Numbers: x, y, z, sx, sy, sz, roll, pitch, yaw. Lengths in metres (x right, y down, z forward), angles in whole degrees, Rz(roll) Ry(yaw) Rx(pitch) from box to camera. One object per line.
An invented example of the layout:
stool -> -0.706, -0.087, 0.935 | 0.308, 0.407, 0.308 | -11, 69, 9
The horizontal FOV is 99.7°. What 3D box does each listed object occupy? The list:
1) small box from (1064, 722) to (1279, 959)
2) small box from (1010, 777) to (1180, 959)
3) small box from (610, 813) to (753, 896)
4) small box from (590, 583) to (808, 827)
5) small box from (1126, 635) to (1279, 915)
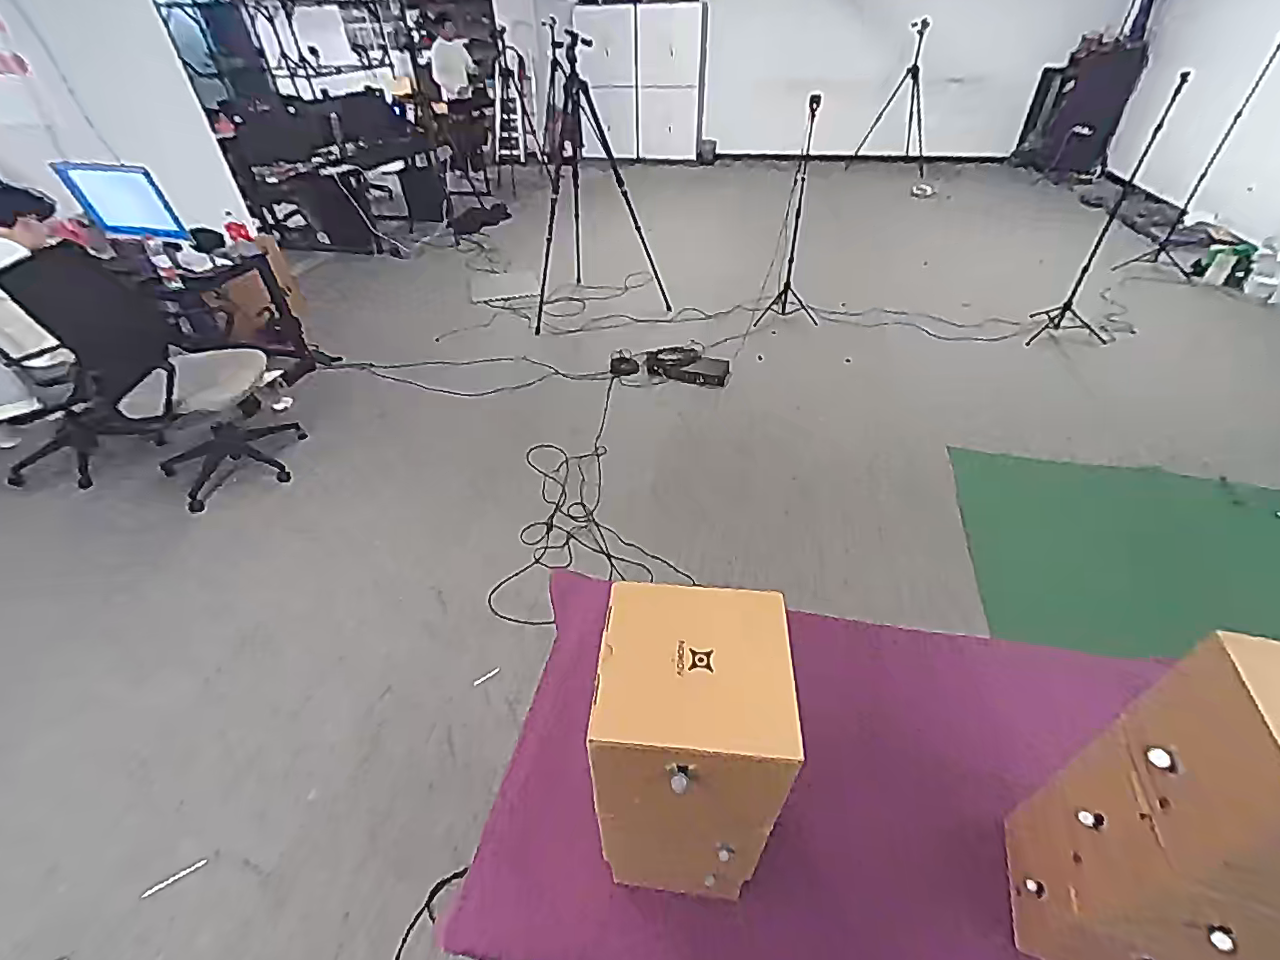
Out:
small box -> 0.591, 0.397, 0.576 | 0.179, 0.176, 0.168 | 12, 43, 17
small box -> 0.595, 0.521, 0.682 | 0.179, 0.176, 0.168 | 15, 43, 18
small box -> 0.060, 0.463, 0.765 | 0.179, 0.176, 0.168 | 3, 41, 6
small box -> 0.054, 0.225, 0.540 | 0.179, 0.176, 0.168 | 3, 42, 5
small box -> 0.590, 0.270, 0.470 | 0.179, 0.176, 0.168 | 11, 42, 16
